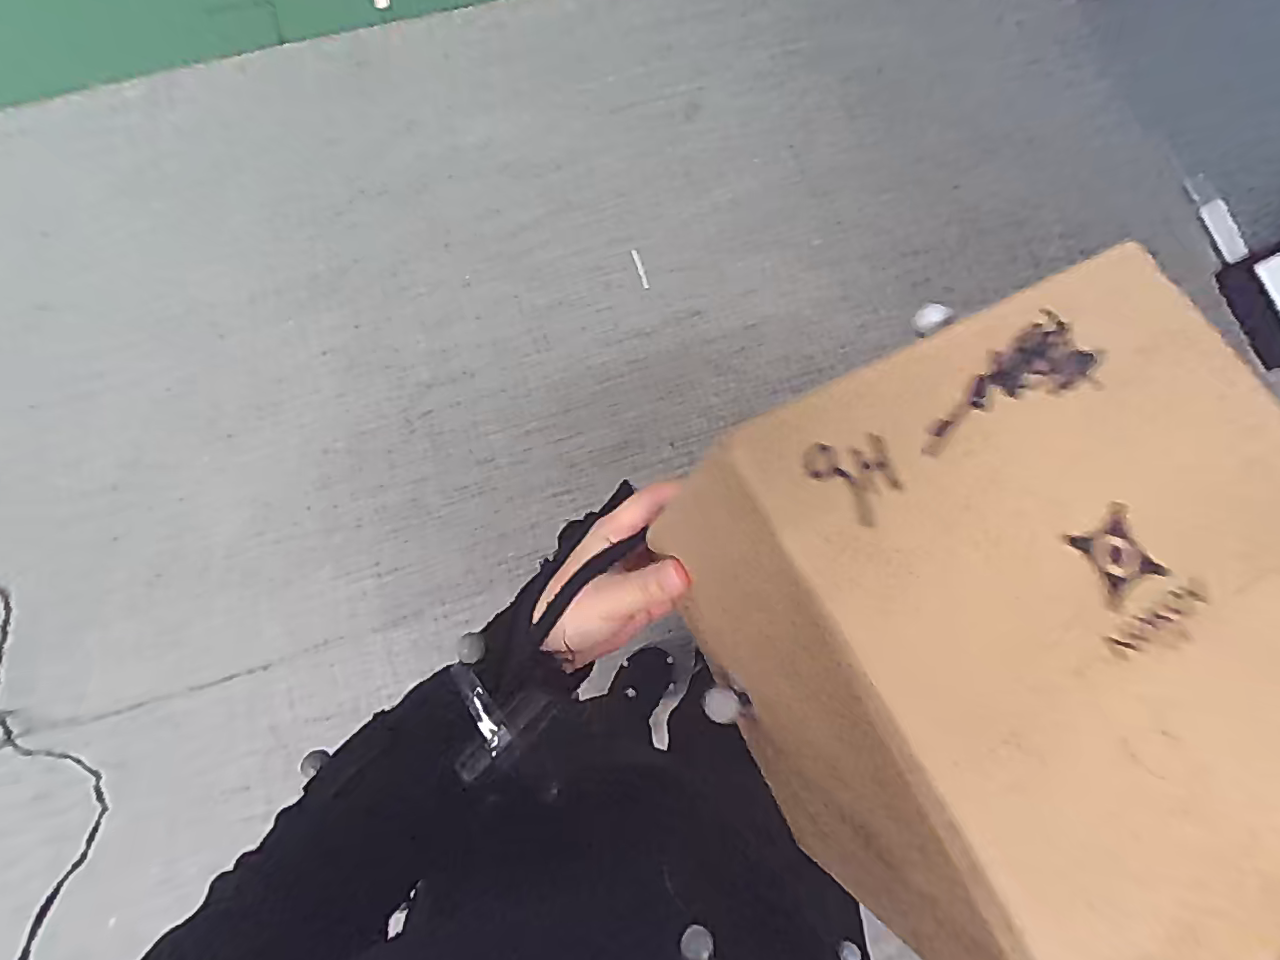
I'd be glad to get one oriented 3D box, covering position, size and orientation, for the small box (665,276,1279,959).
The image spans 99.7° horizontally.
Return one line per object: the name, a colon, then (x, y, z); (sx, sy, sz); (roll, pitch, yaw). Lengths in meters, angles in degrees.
small box: (0.128, 0.058, 0.227); (0.168, 0.176, 0.179); (-25, 79, -13)
